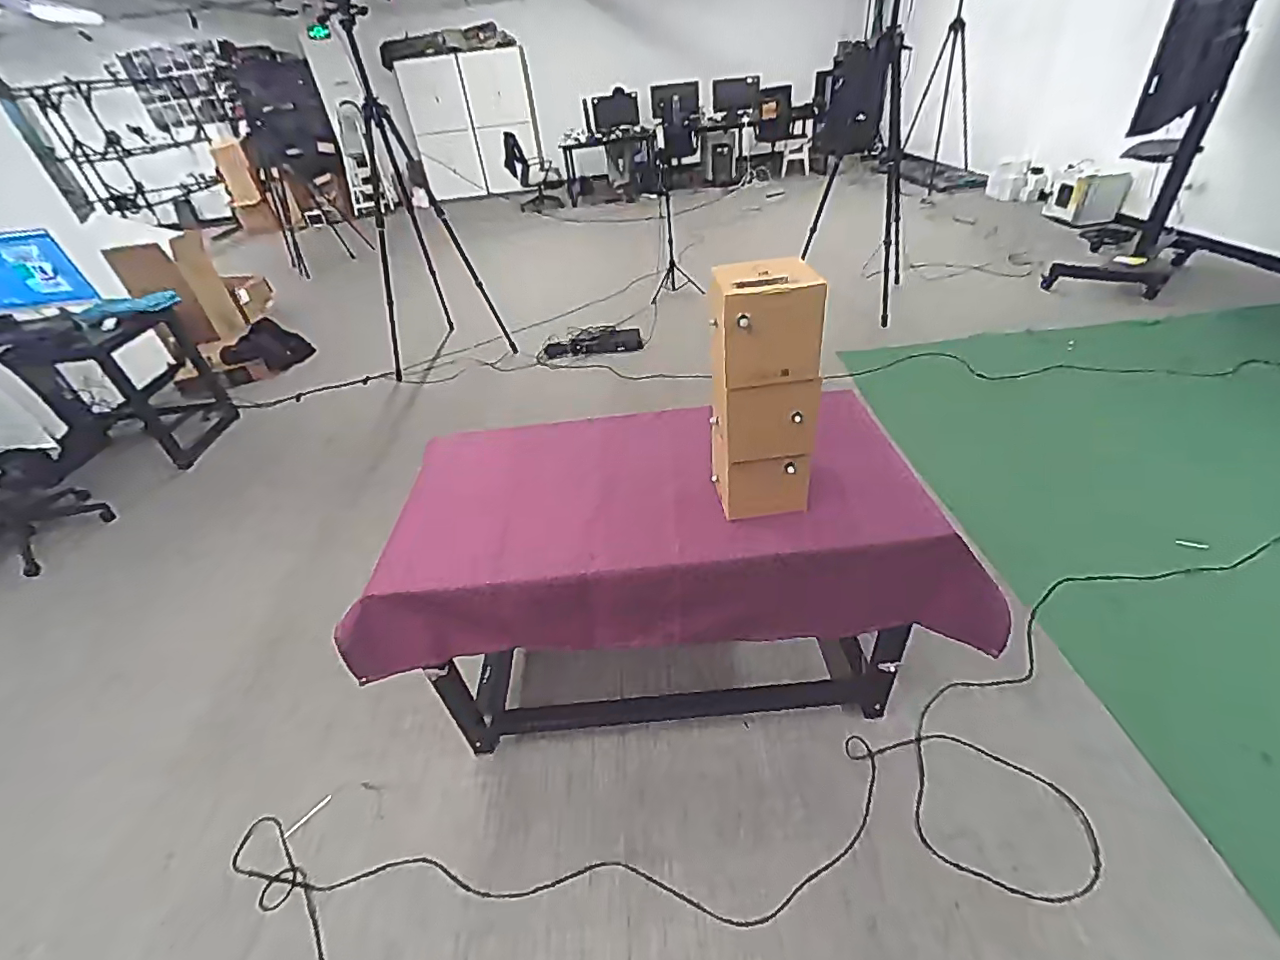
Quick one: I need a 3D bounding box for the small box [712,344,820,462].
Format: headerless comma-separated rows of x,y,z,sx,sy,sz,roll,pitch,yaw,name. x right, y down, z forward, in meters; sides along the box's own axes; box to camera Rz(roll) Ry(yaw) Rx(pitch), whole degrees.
0.244,-0.155,1.088,0.179,0.176,0.168,-7,36,2,small box

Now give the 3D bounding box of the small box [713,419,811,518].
0.262,-0.035,1.199,0.179,0.176,0.168,-8,36,0,small box
